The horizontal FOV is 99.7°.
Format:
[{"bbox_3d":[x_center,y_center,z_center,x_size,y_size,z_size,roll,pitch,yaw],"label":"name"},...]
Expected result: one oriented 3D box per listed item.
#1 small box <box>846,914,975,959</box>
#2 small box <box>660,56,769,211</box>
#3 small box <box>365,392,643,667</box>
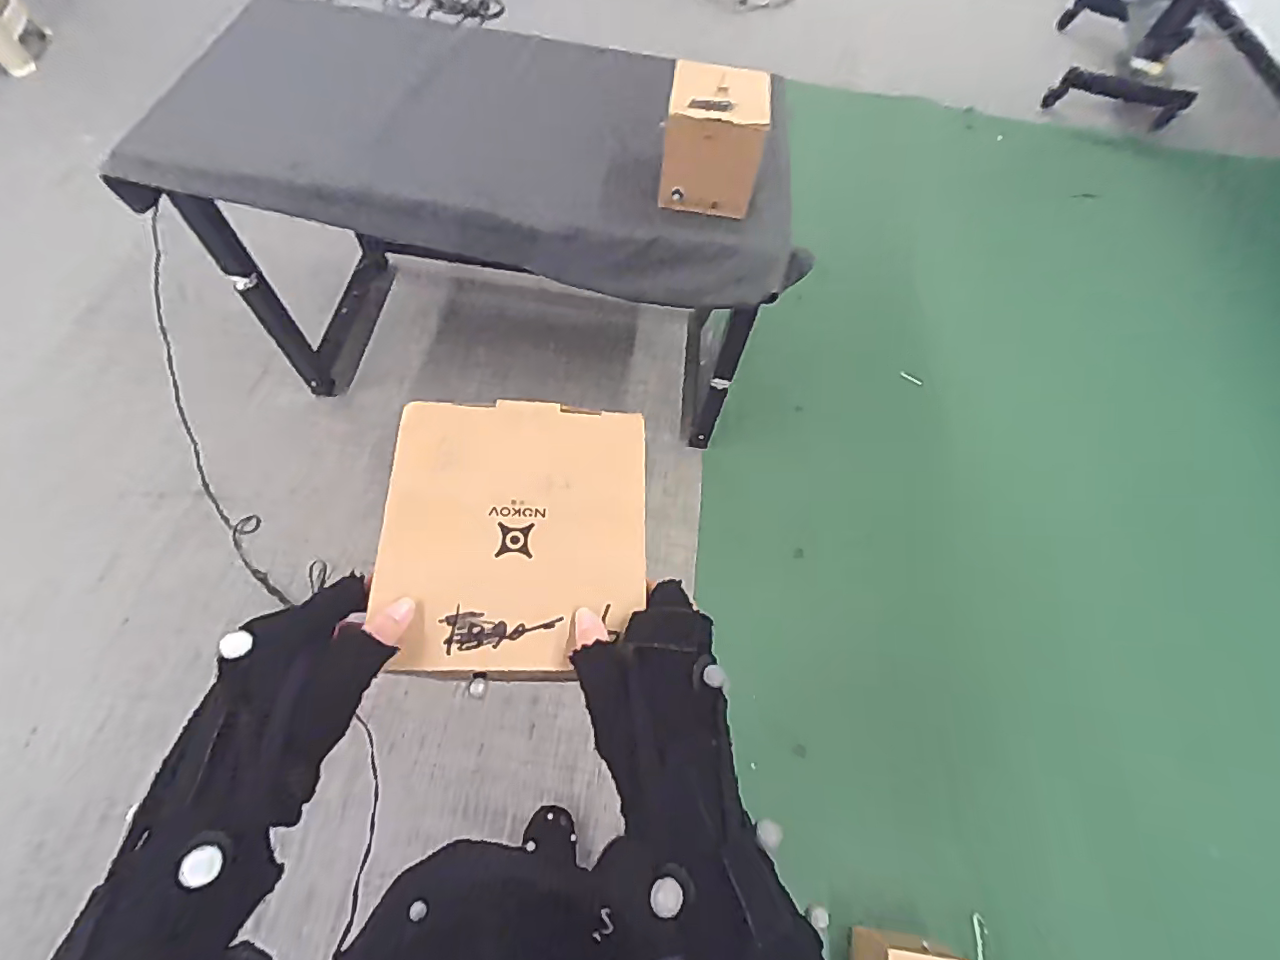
[{"bbox_3d":[0.517,0.963,1.037,0.179,0.176,0.168,9,62,0],"label":"small box"},{"bbox_3d":[0.130,-0.618,0.977,0.168,0.176,0.179,8,61,-1],"label":"small box"},{"bbox_3d":[-0.089,0.051,0.427,0.168,0.176,0.179,2,69,-6],"label":"small box"}]
